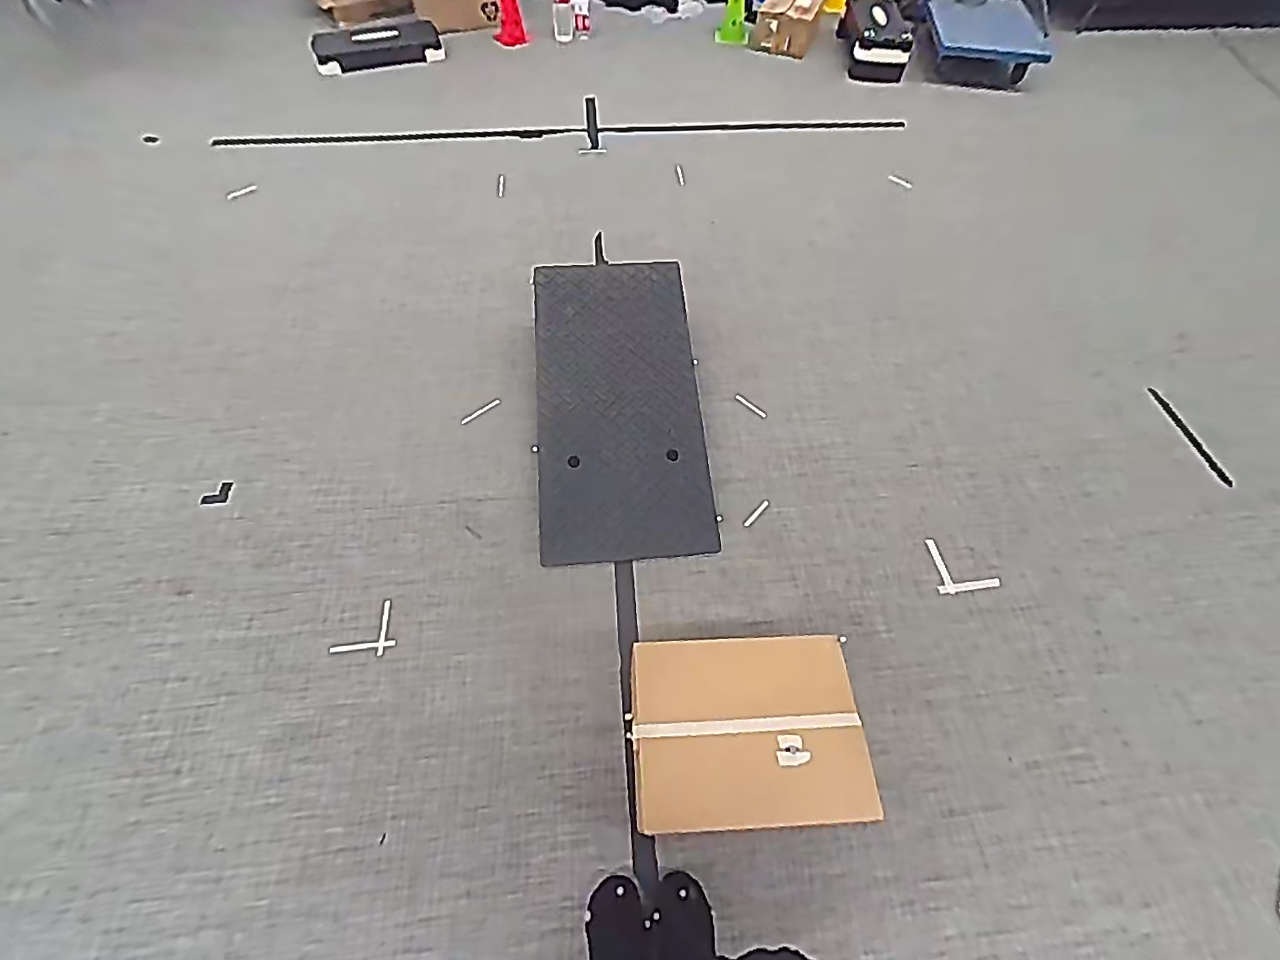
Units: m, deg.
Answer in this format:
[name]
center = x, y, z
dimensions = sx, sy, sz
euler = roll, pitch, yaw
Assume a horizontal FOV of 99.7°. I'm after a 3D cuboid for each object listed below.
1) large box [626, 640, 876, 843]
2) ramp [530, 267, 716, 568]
[large box]
center = 0.183, 0.532, 1.096
dimensions = 0.408, 0.320, 0.320
euler = -1, 58, -4
[ramp]
center = -0.076, -0.242, 1.639
dimensions = 0.509, 0.206, 0.991
euler = -5, 59, -7
